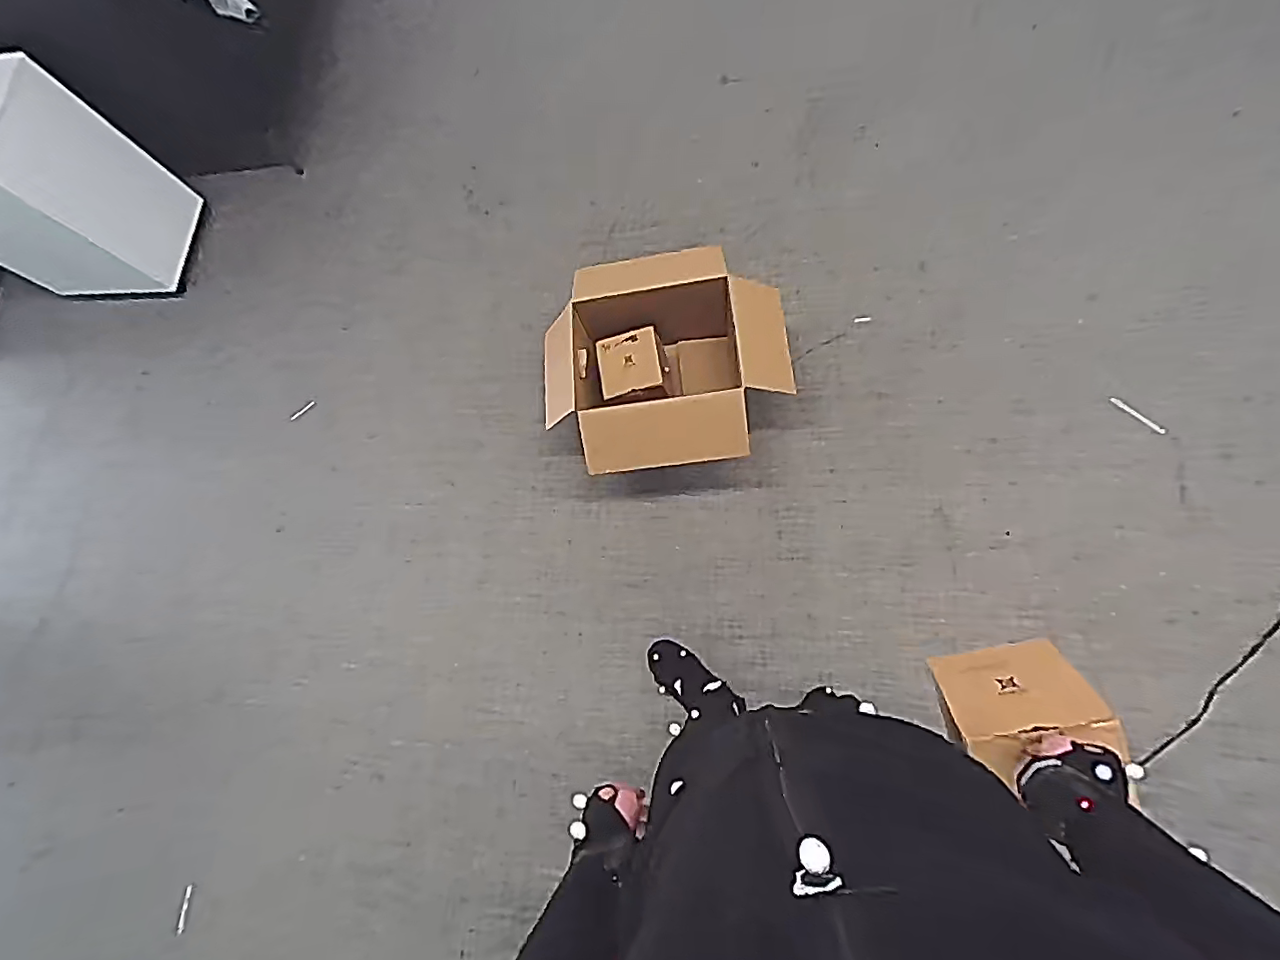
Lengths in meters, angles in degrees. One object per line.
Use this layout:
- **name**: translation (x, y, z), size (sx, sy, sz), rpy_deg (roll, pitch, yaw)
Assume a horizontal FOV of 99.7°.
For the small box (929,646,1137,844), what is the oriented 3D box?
- **small box**: translation (0.511, 0.351, 0.722), size (0.168, 0.179, 0.176), rpy_deg (-15, 99, 19)
